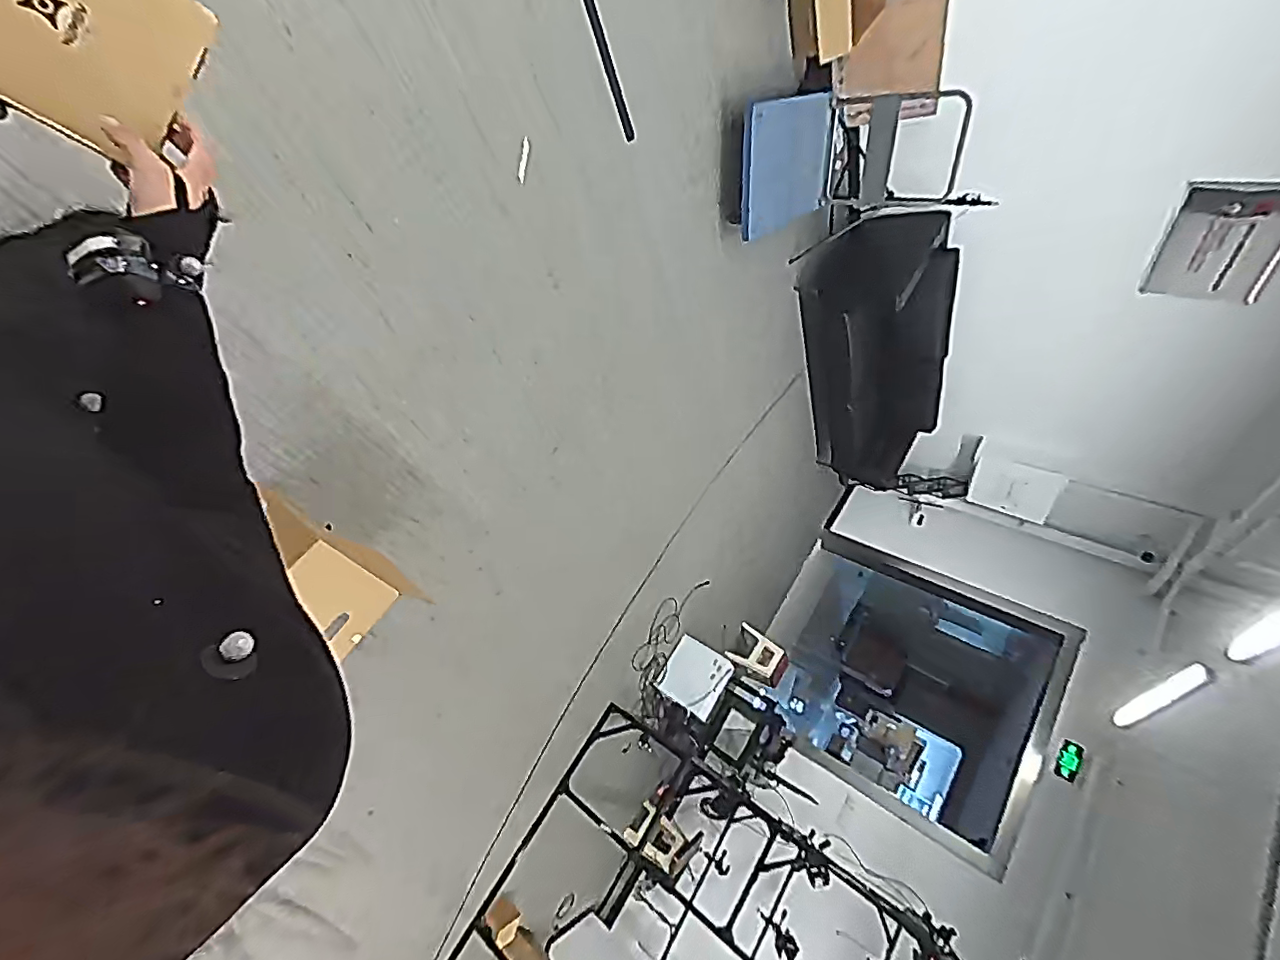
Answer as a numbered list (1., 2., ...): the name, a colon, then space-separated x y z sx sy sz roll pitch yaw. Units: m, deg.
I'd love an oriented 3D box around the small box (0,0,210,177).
1. small box: -0.548 -0.416 0.489 0.179 0.176 0.168 21 98 -59
